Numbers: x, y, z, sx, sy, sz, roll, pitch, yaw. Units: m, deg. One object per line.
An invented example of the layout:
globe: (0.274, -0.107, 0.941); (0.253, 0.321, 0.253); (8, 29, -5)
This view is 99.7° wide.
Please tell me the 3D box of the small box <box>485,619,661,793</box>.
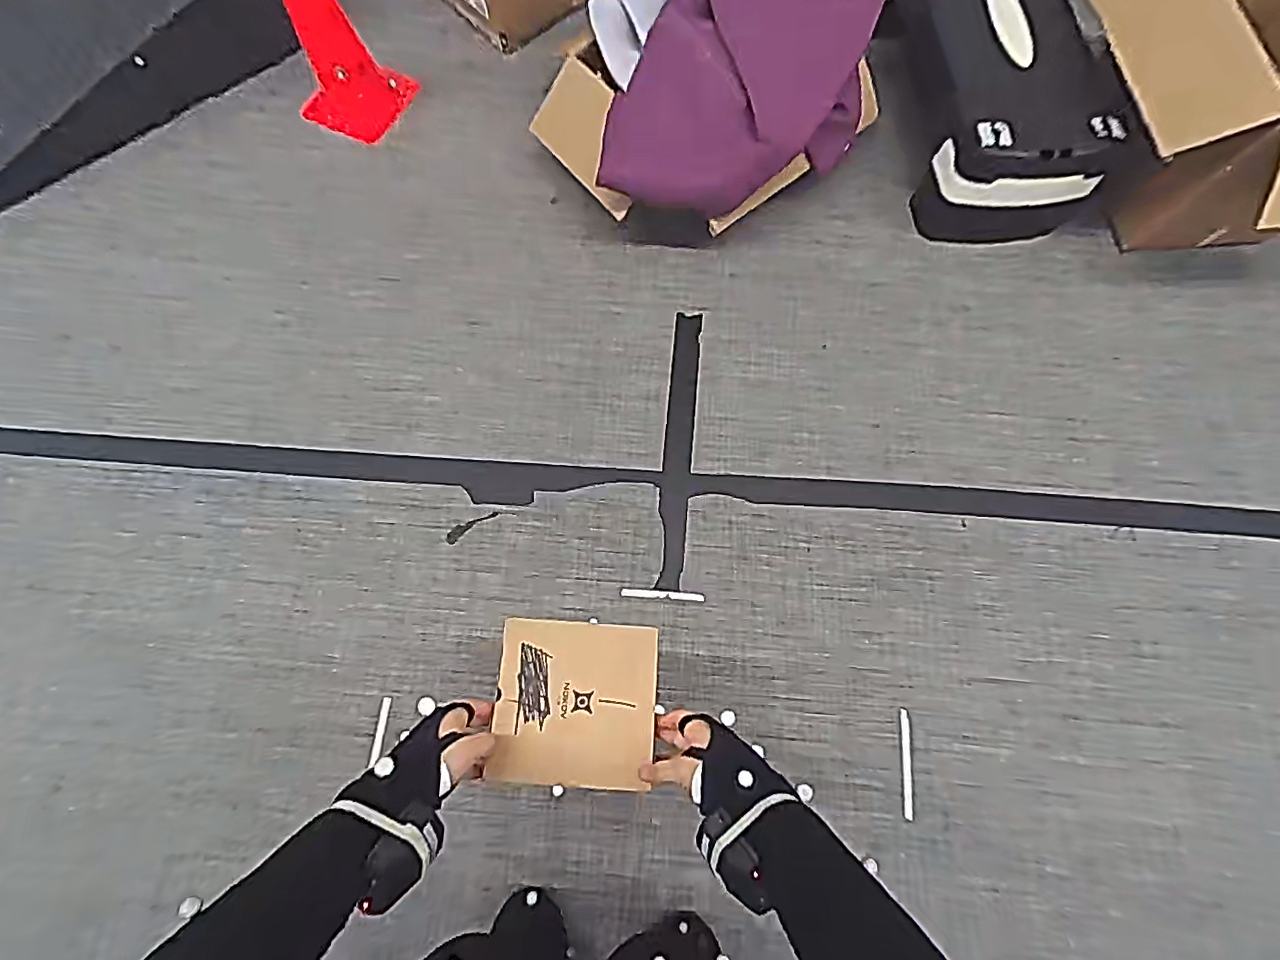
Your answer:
small box: (-0.070, 0.271, 0.658); (0.179, 0.176, 0.168); (4, 67, 0)
